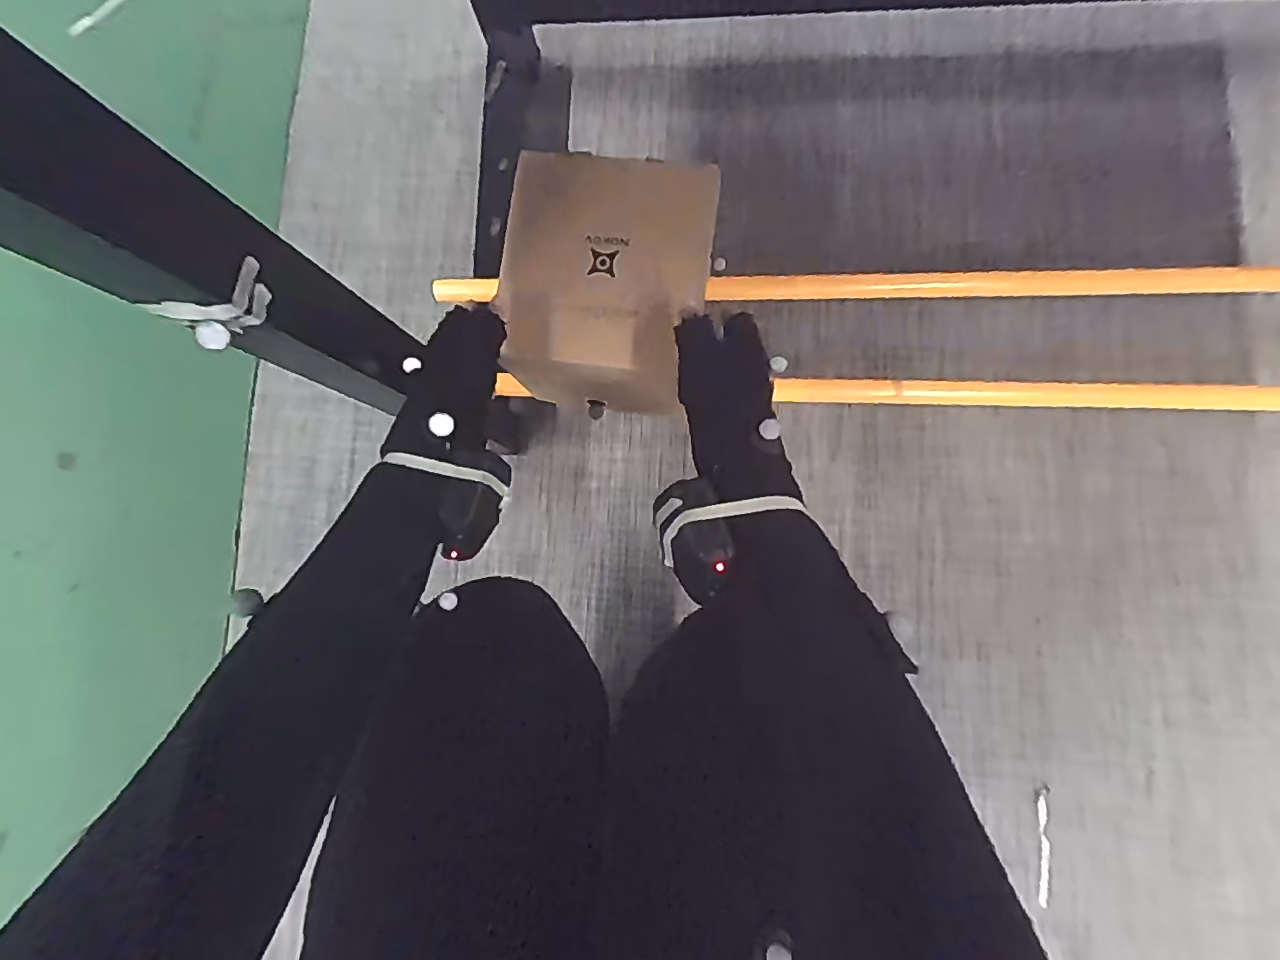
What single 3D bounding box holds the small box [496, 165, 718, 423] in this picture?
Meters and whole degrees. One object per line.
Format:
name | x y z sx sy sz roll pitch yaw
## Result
small box | -0.021 -0.164 0.520 0.168 0.176 0.179 6 85 6
